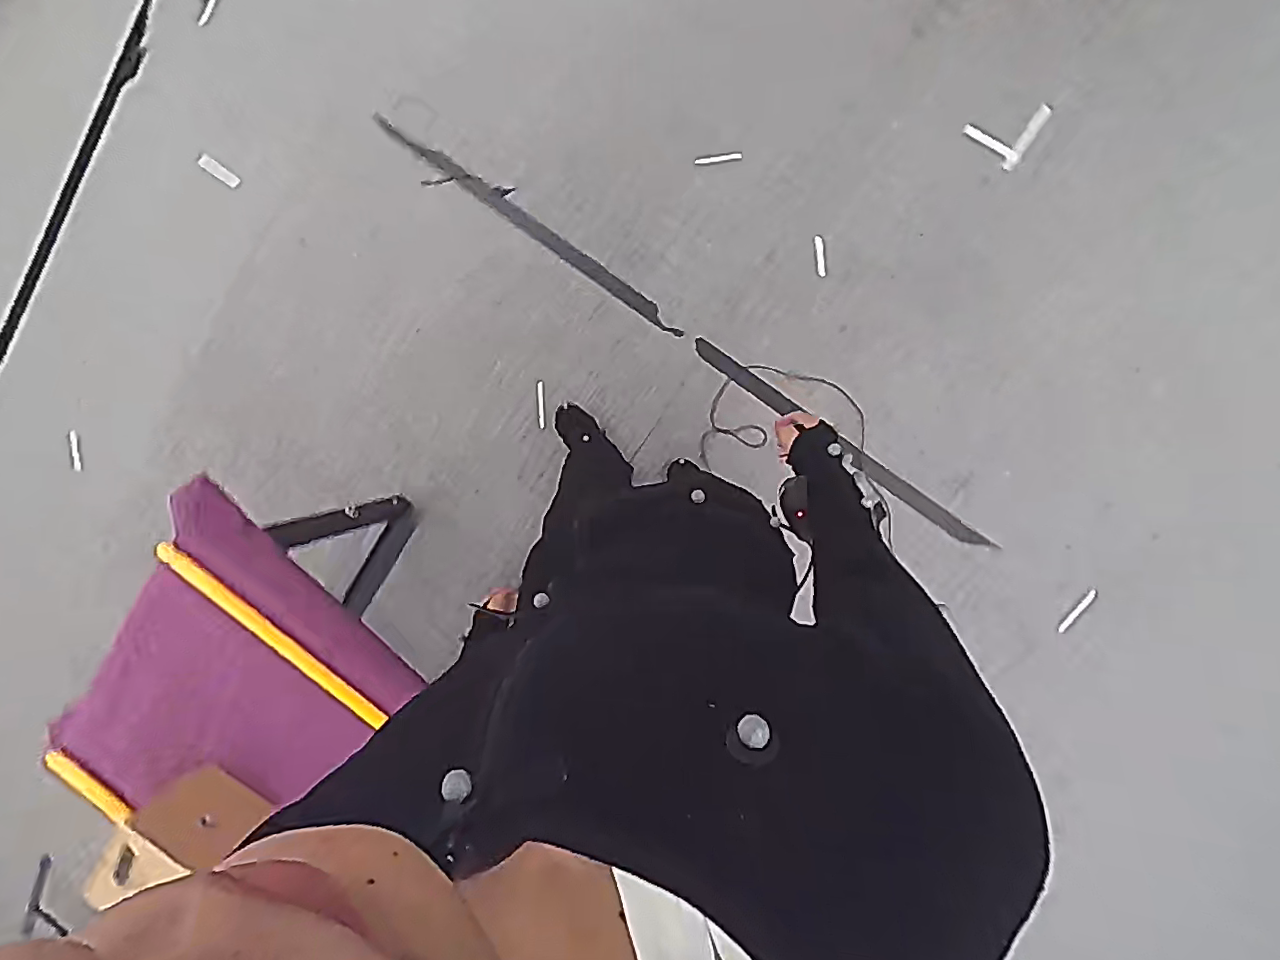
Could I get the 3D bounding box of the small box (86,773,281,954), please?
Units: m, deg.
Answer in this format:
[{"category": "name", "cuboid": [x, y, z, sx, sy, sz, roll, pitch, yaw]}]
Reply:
[{"category": "small box", "cuboid": [-0.803, 0.667, 0.968, 0.179, 0.176, 0.168, 32, 98, 3]}]
